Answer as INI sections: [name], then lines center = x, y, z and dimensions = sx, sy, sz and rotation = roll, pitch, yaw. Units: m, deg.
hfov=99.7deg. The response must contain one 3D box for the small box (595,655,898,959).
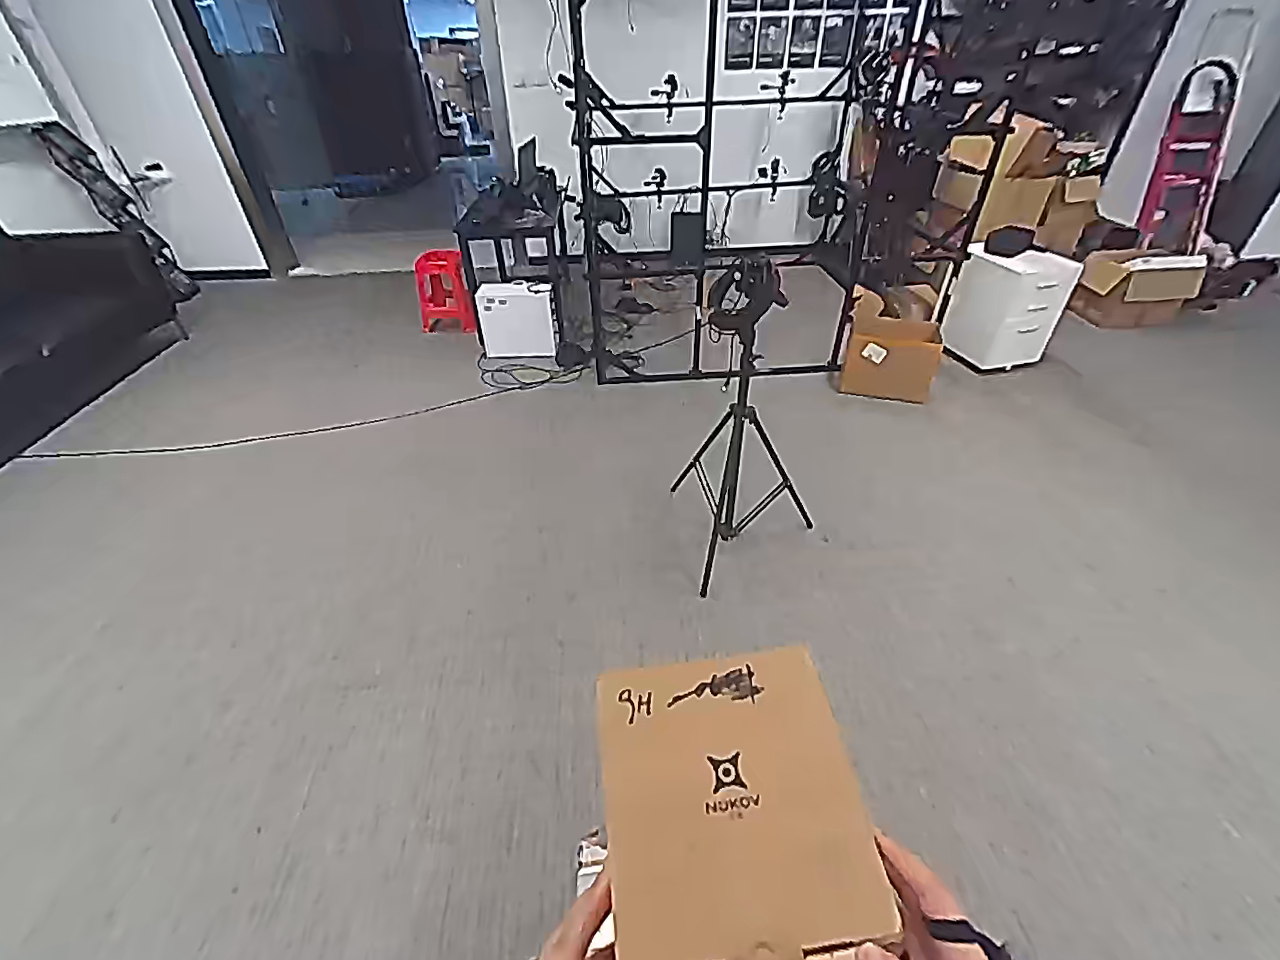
[small box]
center = 0.061, 0.259, 0.415
dimensions = 0.168, 0.176, 0.179
rotation = -7, 51, -4
